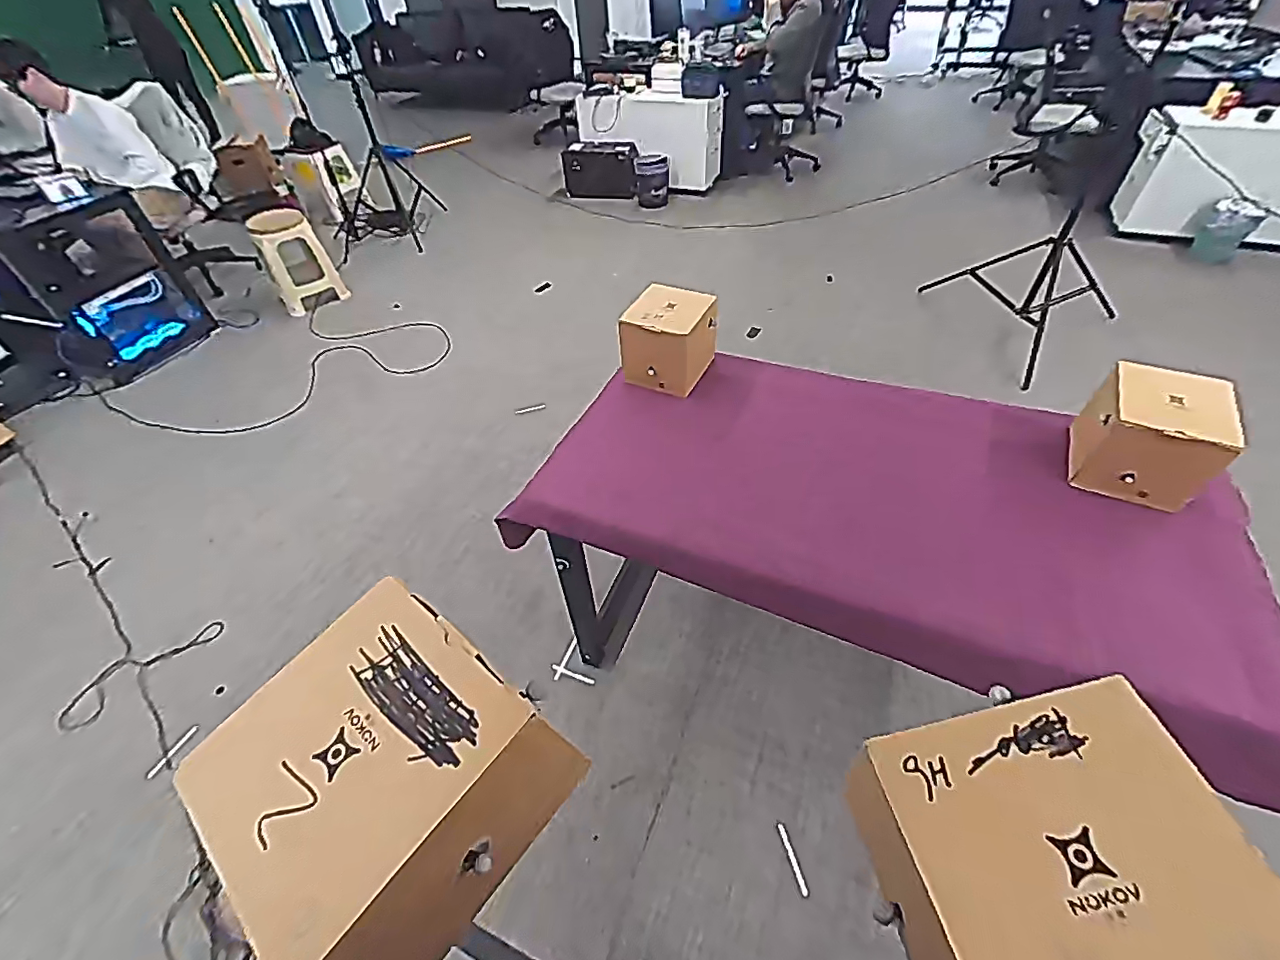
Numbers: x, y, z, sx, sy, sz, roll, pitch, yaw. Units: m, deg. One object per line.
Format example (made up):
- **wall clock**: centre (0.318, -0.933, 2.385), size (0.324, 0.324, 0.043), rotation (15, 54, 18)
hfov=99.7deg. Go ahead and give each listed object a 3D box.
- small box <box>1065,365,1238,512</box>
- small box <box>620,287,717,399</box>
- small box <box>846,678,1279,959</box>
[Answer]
- **small box**: centre (0.904, -0.074, 0.976), size (0.168, 0.176, 0.179), rotation (19, 55, 20)
- **small box**: centre (0.067, -0.319, 1.259), size (0.168, 0.176, 0.179), rotation (19, 52, 20)
- **small box**: centre (0.252, 0.256, 0.352), size (0.168, 0.176, 0.179), rotation (-16, 52, 2)
